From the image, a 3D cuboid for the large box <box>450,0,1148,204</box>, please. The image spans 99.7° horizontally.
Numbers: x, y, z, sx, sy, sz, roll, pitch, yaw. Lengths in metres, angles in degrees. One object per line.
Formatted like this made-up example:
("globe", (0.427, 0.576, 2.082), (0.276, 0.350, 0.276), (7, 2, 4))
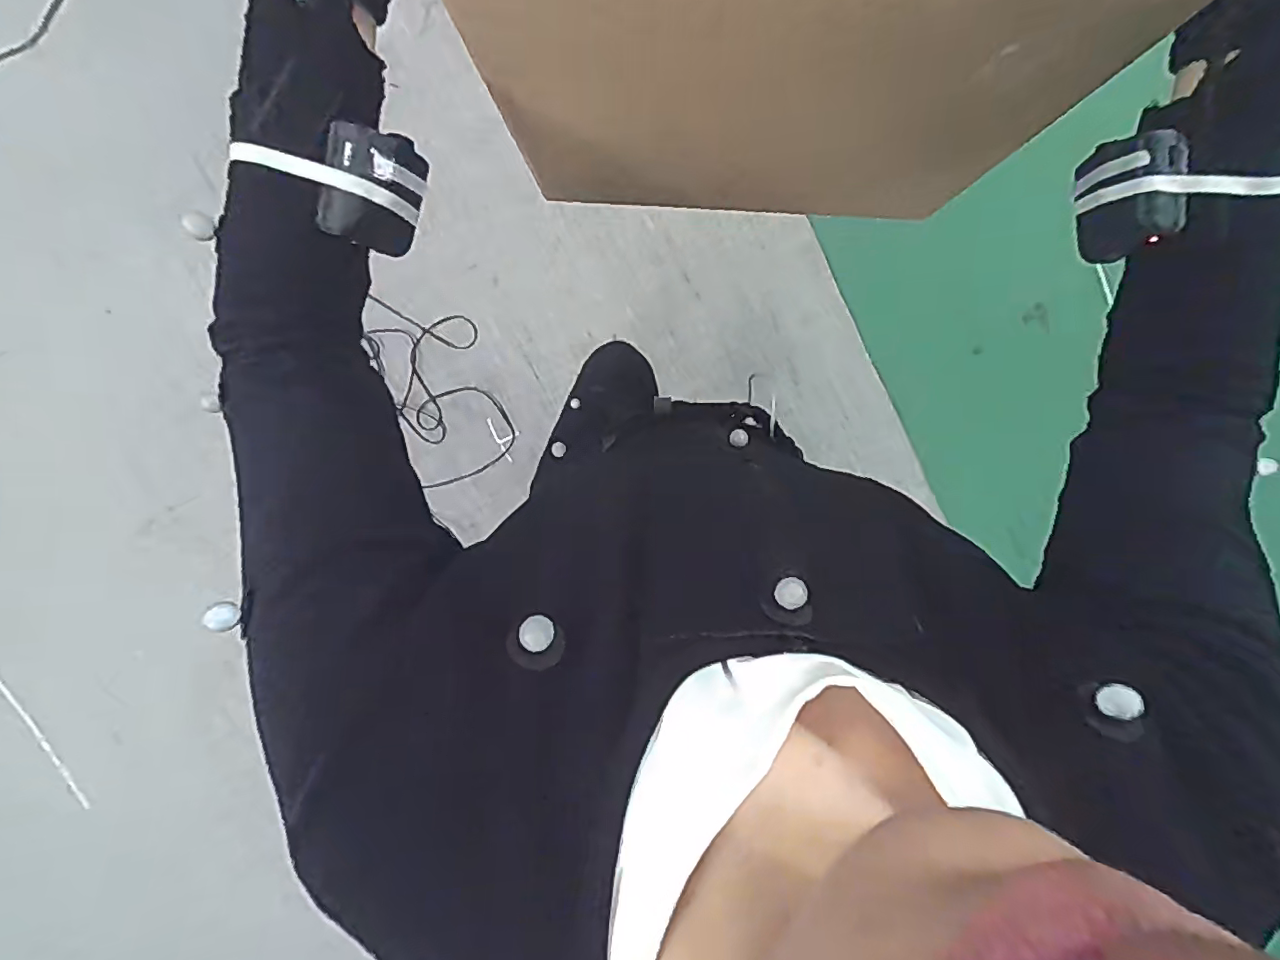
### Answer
("large box", (0.091, -0.427, 0.404), (0.408, 0.320, 0.320), (2, 97, 1))
